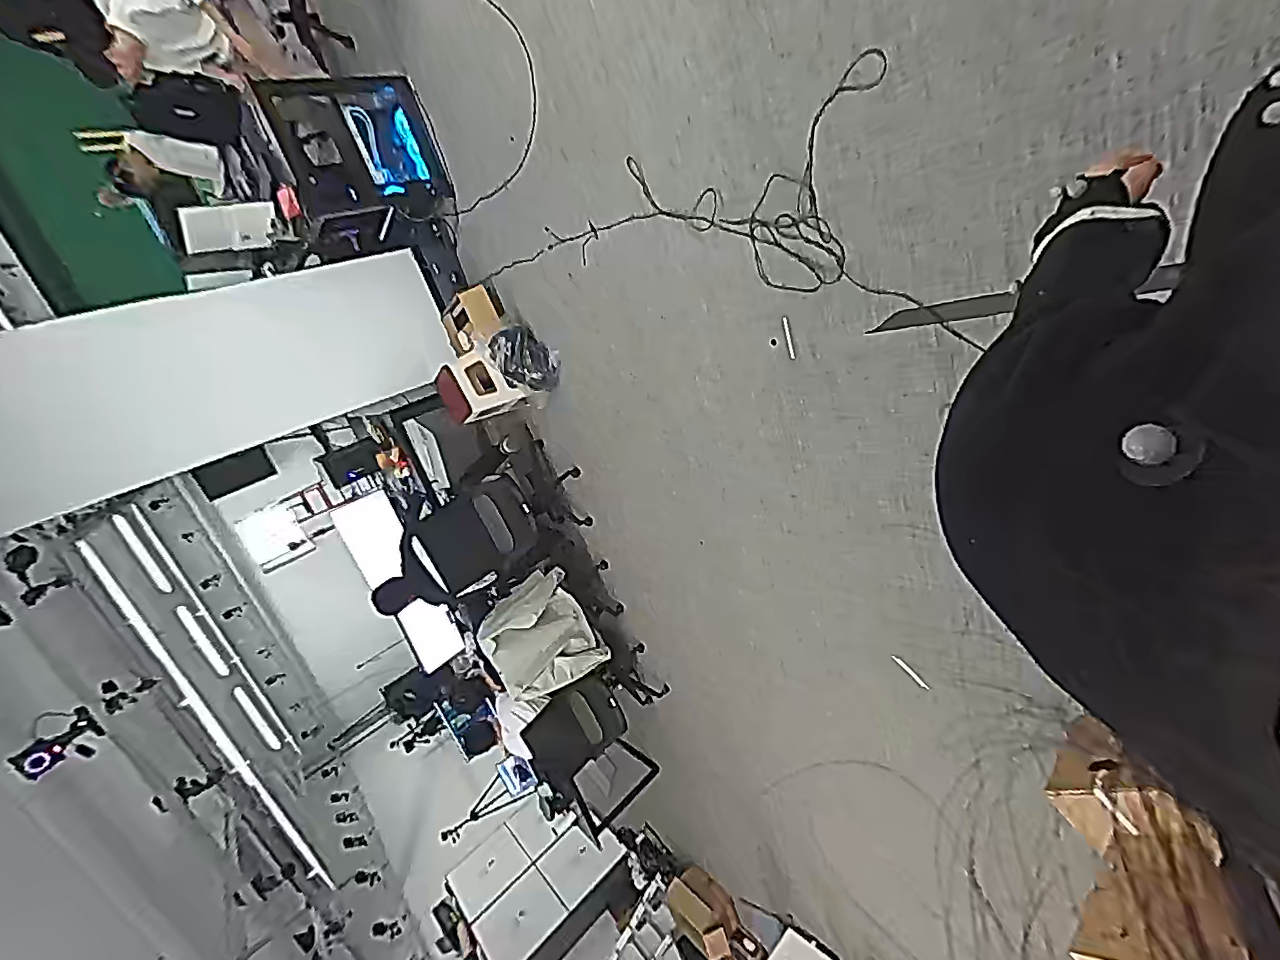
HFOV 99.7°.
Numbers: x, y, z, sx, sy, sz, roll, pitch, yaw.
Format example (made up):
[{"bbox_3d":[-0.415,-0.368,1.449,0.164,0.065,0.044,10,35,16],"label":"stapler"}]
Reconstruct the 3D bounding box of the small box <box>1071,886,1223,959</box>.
[{"bbox_3d":[1.078,1.005,1.144,0.168,0.176,0.179,50,147,15],"label":"small box"}]
